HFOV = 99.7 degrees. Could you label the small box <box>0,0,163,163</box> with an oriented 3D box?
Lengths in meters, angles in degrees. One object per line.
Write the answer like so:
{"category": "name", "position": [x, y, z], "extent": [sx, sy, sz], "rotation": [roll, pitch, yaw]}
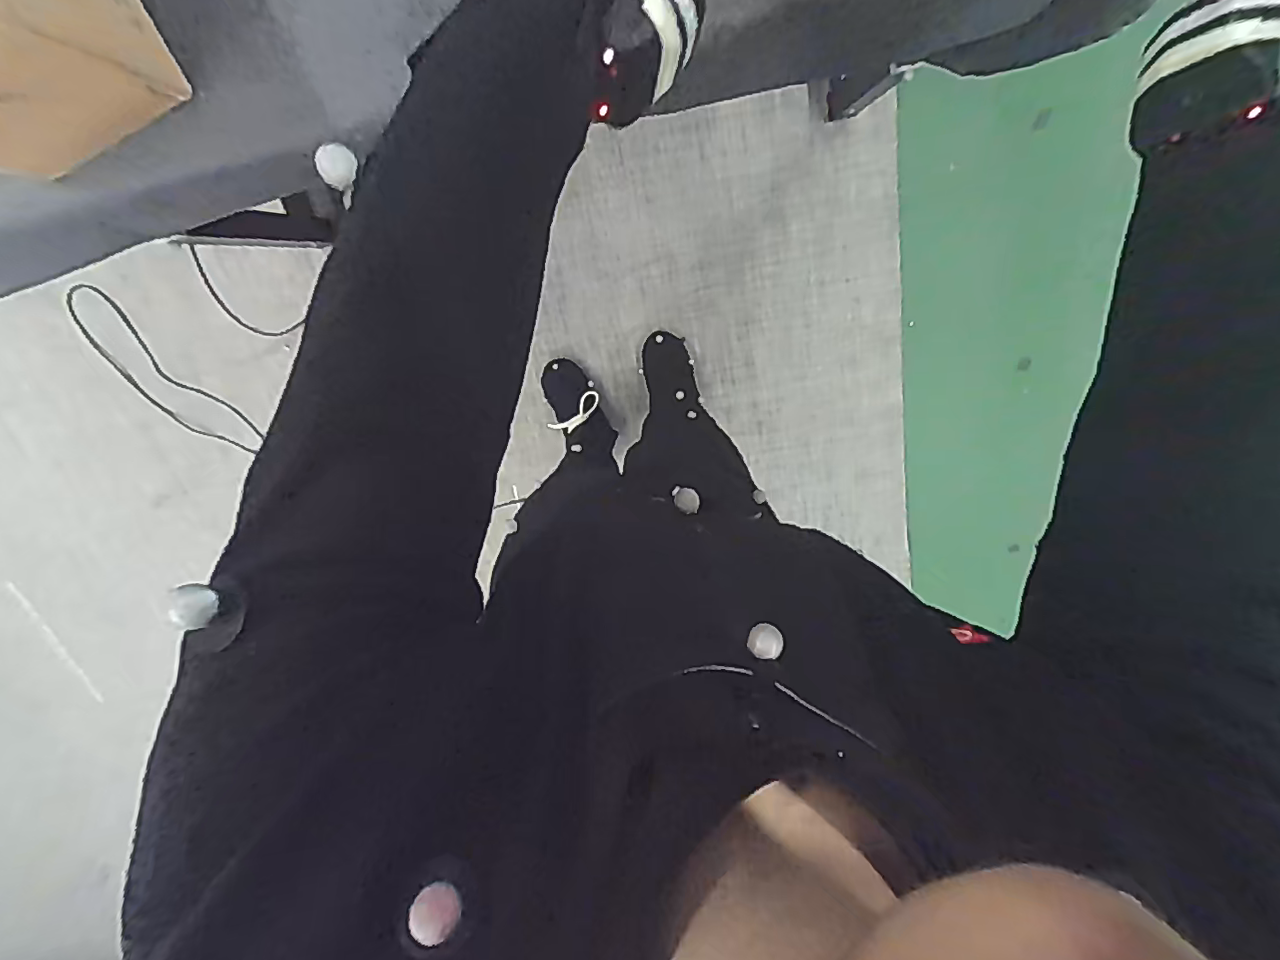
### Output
{"category": "small box", "position": [-0.502, -0.356, 0.382], "extent": [0.179, 0.176, 0.168], "rotation": [-20, 109, 10]}
